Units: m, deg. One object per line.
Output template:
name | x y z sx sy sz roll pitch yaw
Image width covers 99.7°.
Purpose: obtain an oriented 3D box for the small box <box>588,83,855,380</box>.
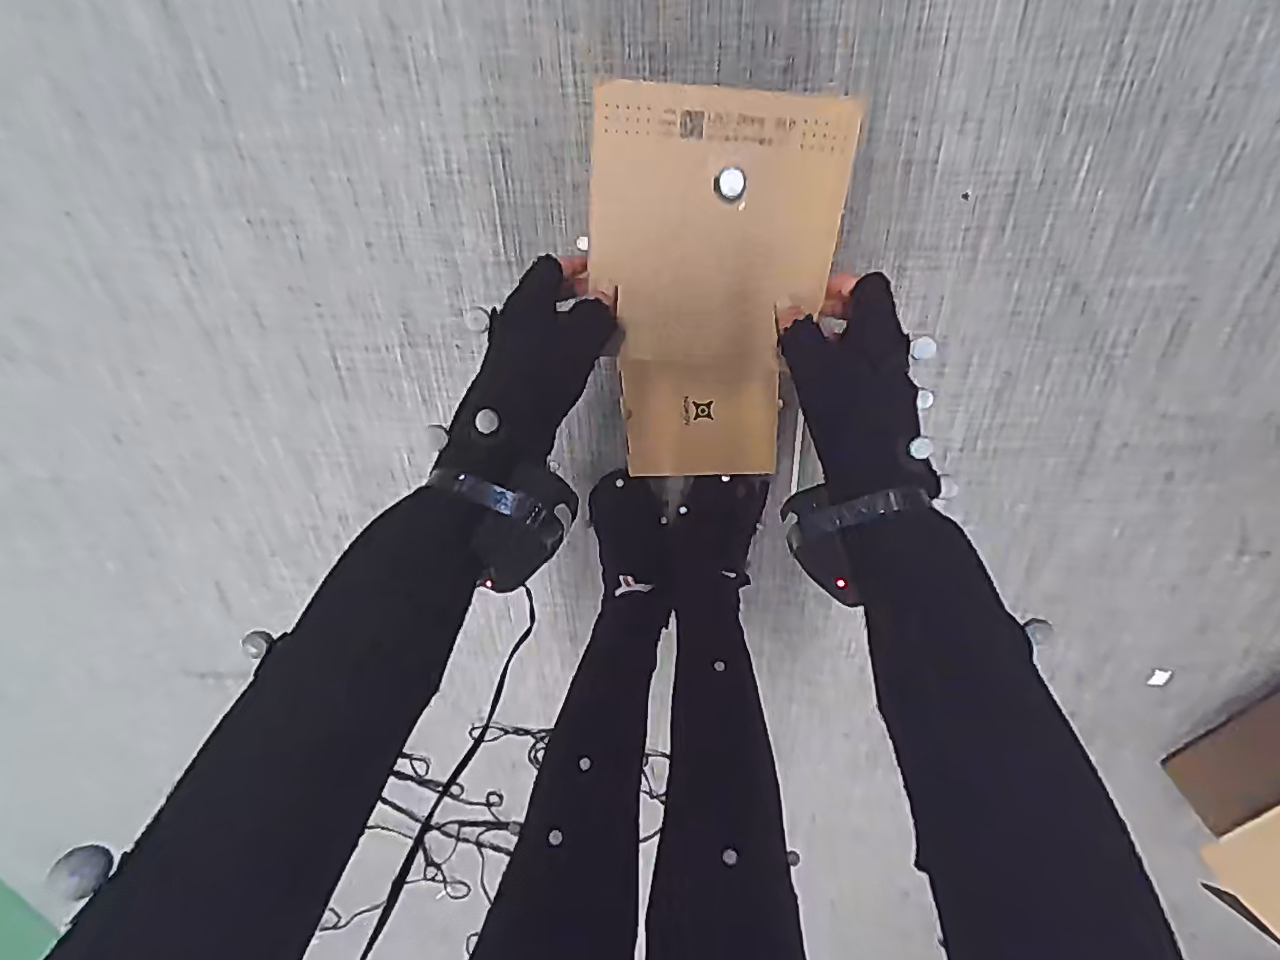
small box | 0.050 -0.191 0.434 0.168 0.179 0.176 4 116 -2
